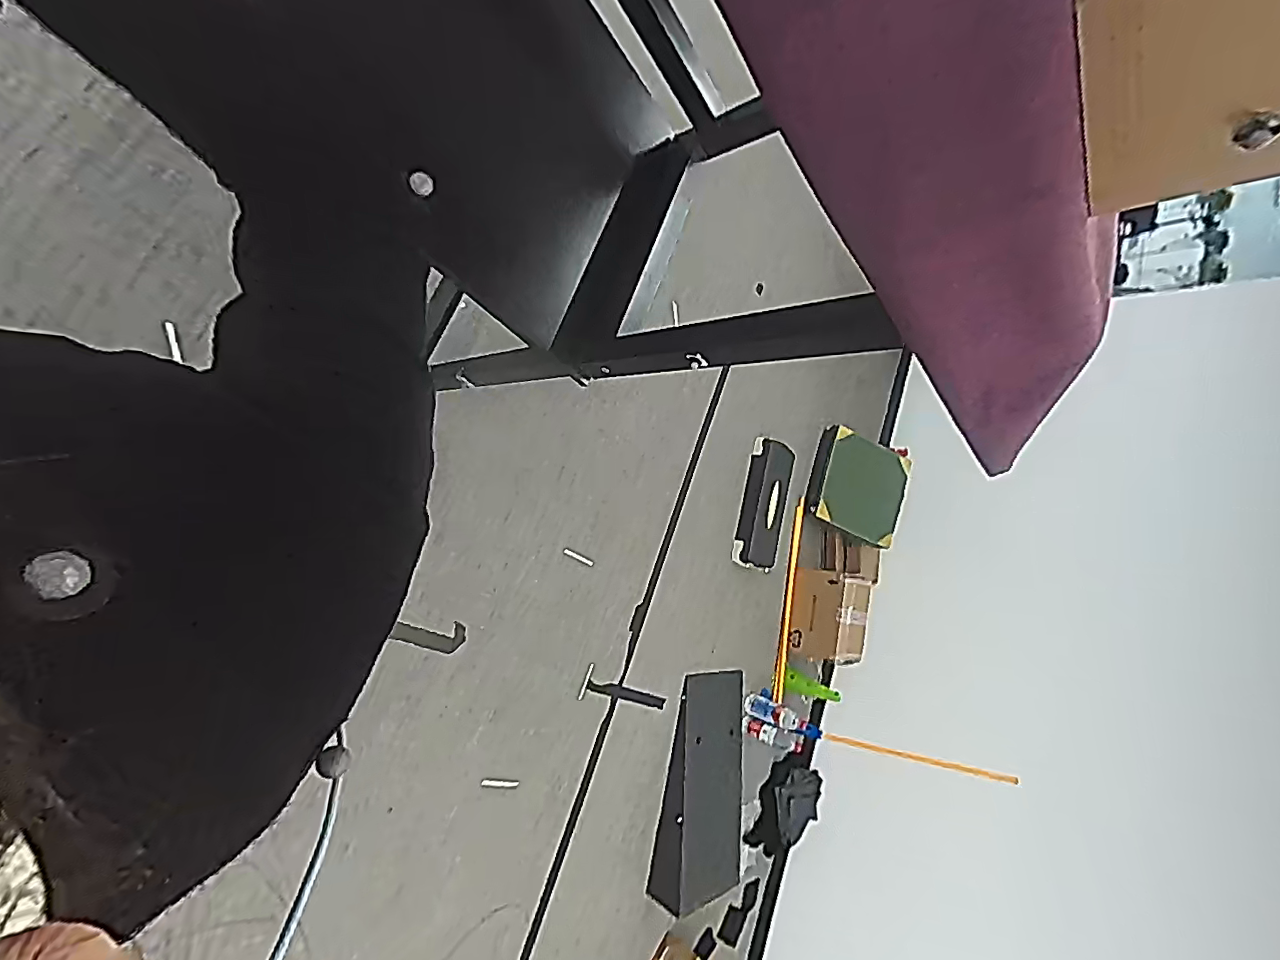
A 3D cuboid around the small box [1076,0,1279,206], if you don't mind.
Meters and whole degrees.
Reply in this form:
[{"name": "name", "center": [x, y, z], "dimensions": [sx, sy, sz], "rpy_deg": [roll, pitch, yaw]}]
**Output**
[{"name": "small box", "center": [0.413, -0.315, 0.361], "dimensions": [0.179, 0.176, 0.168], "rpy_deg": [38, 66, -40]}]
